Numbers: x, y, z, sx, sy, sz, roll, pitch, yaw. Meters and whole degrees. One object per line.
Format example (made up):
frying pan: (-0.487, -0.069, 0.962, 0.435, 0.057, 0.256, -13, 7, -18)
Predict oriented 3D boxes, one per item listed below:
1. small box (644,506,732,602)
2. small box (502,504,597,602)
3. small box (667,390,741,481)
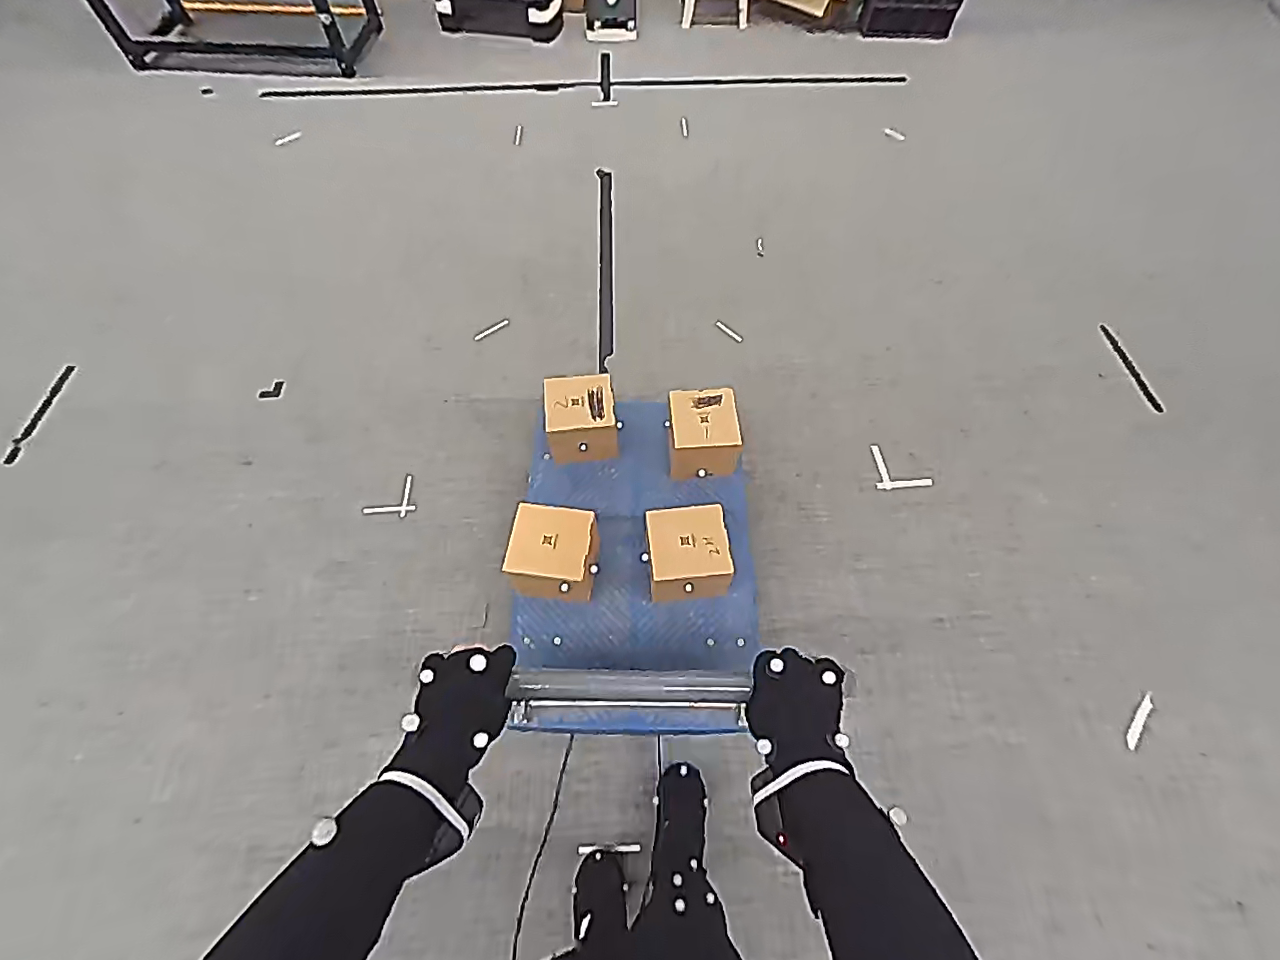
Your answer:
small box: (0.105, 0.176, 1.247, 0.179, 0.176, 0.168, -5, 61, -3)
small box: (-0.200, 0.174, 1.249, 0.179, 0.176, 0.168, 7, 60, 2)
small box: (0.159, -0.115, 1.410, 0.168, 0.176, 0.179, -3, 62, -1)
